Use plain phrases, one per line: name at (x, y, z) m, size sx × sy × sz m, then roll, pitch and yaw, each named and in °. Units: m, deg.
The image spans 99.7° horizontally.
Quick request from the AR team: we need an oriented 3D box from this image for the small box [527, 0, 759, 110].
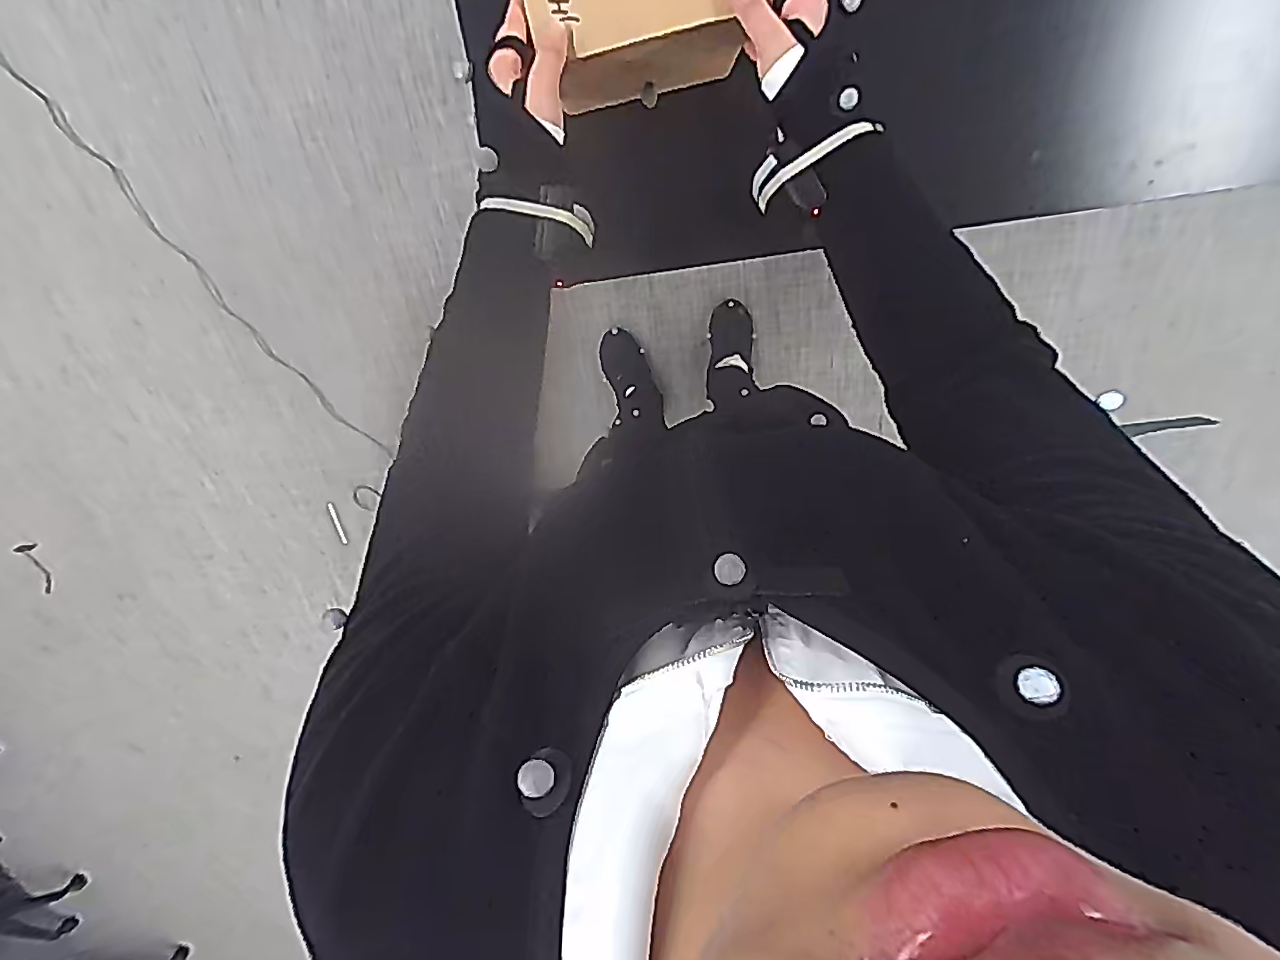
small box at (-0.010, -0.444, 0.460) m, size 0.179 × 0.176 × 0.168 m, roll -11°, pitch 112°, yaw 4°
